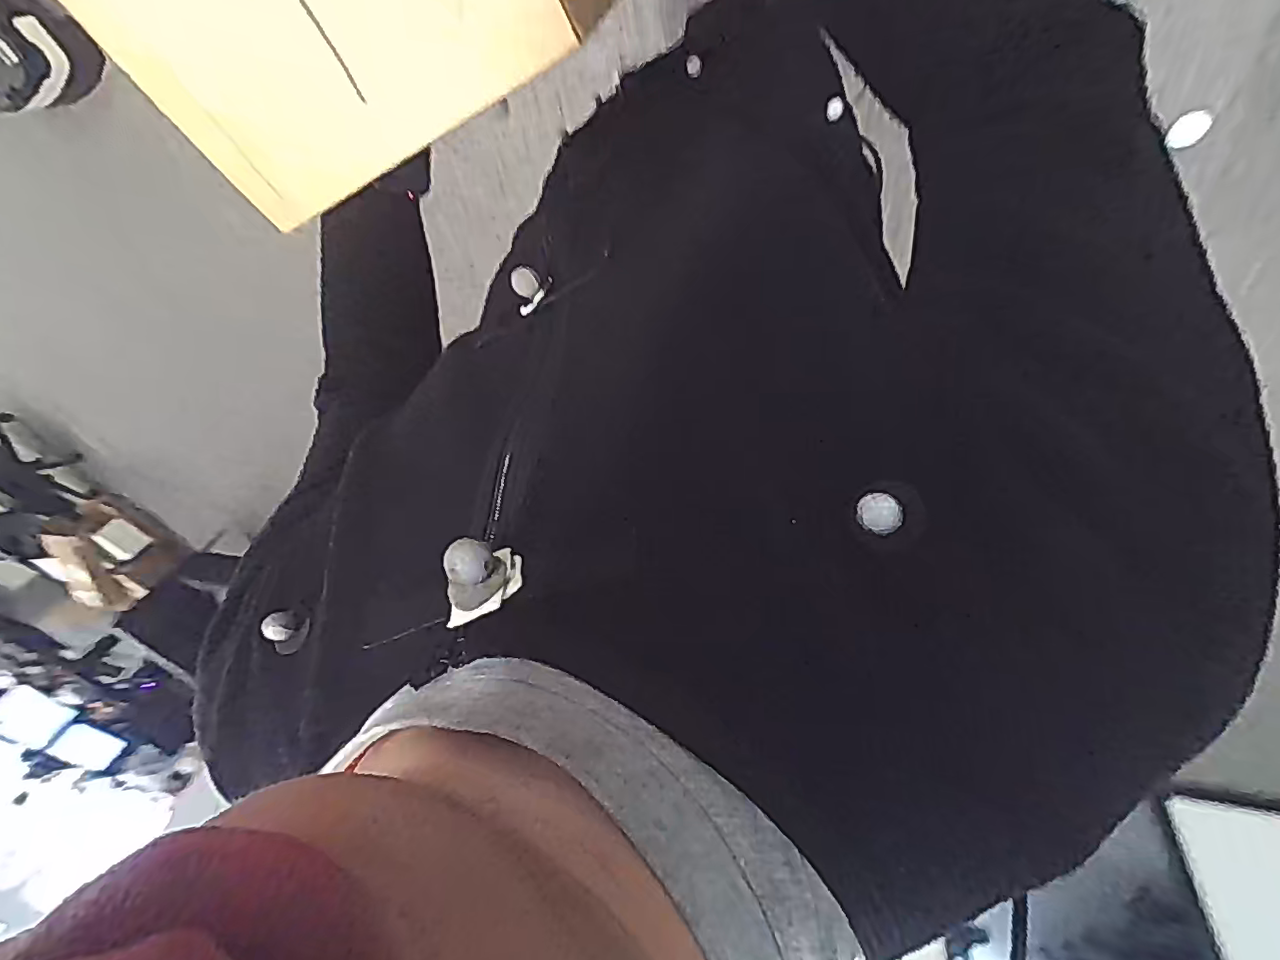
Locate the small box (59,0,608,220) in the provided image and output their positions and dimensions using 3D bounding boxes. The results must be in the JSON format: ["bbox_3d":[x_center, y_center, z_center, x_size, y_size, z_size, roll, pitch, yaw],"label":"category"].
[{"bbox_3d":[-0.119,-0.246,0.208,0.168,0.176,0.179,-12,137,24],"label":"small box"}]
